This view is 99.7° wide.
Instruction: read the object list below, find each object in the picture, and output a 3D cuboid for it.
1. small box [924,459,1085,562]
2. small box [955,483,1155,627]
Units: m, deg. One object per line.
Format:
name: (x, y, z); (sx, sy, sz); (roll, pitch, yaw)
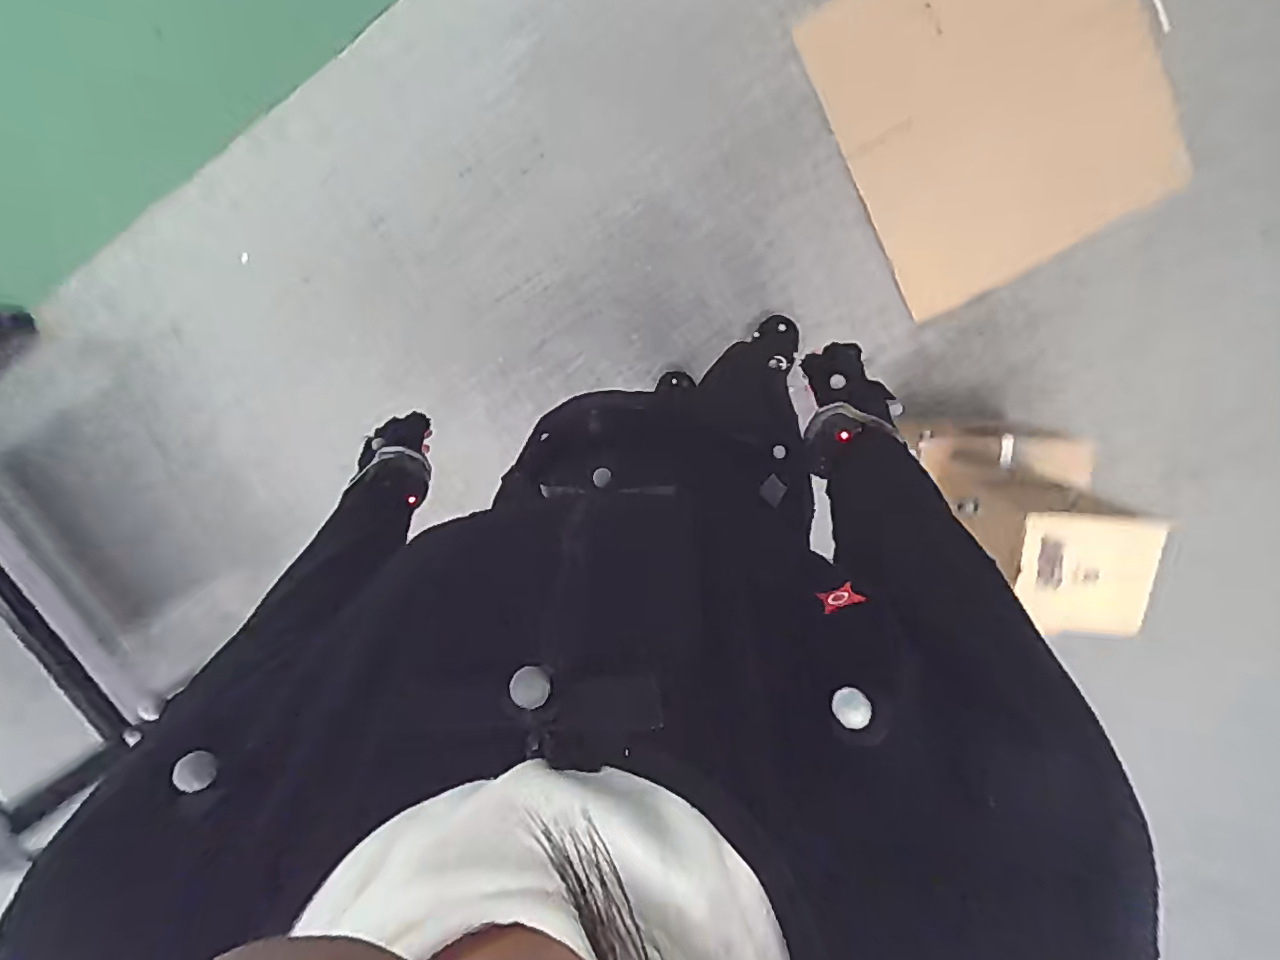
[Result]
small box: (0.642, 0.066, 0.980); (0.168, 0.176, 0.179); (6, 105, 4)
small box: (0.608, 0.103, 0.820); (0.179, 0.176, 0.168); (2, 103, 9)
